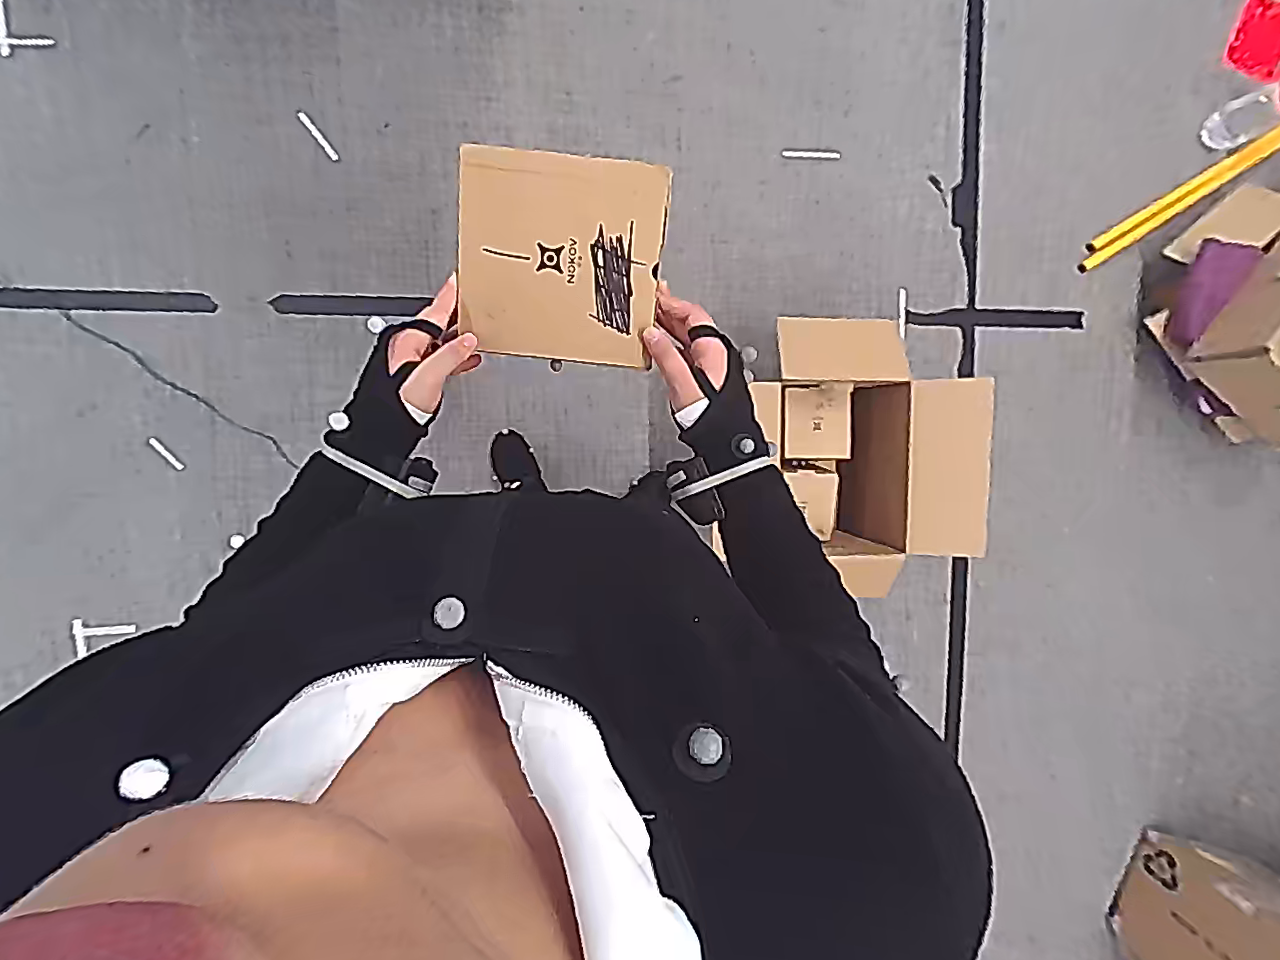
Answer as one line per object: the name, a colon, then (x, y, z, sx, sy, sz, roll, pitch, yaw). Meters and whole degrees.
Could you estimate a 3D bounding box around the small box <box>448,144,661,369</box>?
small box: (-0.077, -0.208, 0.540, 0.179, 0.176, 0.168, 6, 105, -1)
